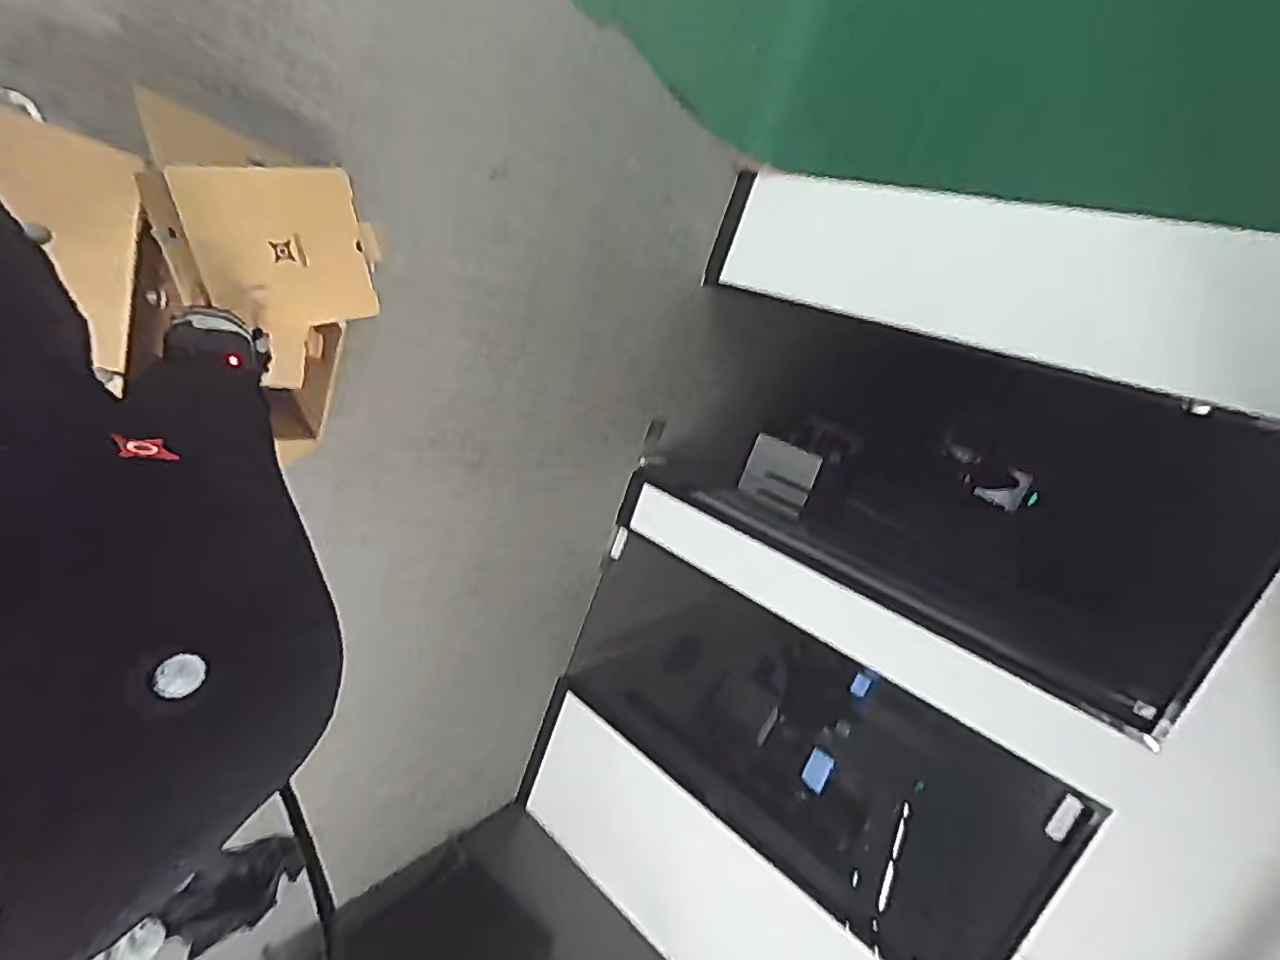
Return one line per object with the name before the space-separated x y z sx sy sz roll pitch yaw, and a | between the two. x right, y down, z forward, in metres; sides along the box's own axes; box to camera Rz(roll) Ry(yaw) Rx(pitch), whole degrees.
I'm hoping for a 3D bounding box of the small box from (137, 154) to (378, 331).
small box | -0.450 -0.282 0.640 0.179 0.176 0.168 -30 129 -41
